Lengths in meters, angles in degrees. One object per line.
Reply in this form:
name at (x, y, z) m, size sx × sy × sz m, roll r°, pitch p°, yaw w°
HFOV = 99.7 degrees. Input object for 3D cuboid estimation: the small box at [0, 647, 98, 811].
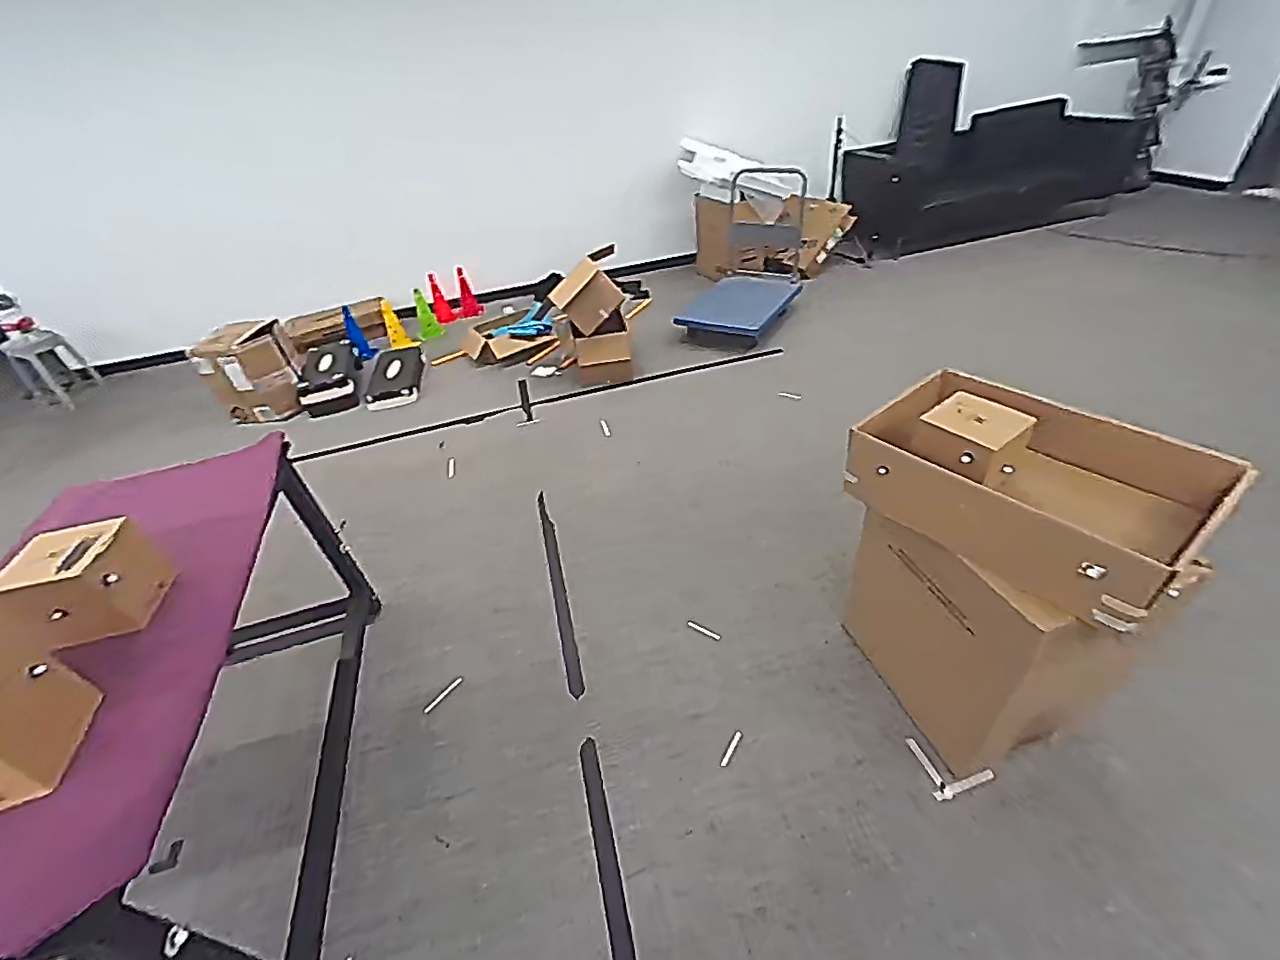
small box at (-1.006, 0.398, 0.829) m, size 0.168 × 0.176 × 0.179 m, roll -17°, pitch 38°, yaw -12°

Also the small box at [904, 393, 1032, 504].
small box at (0.743, -0.068, 1.244) m, size 0.168 × 0.176 × 0.179 m, roll -29°, pitch 42°, yaw -23°
